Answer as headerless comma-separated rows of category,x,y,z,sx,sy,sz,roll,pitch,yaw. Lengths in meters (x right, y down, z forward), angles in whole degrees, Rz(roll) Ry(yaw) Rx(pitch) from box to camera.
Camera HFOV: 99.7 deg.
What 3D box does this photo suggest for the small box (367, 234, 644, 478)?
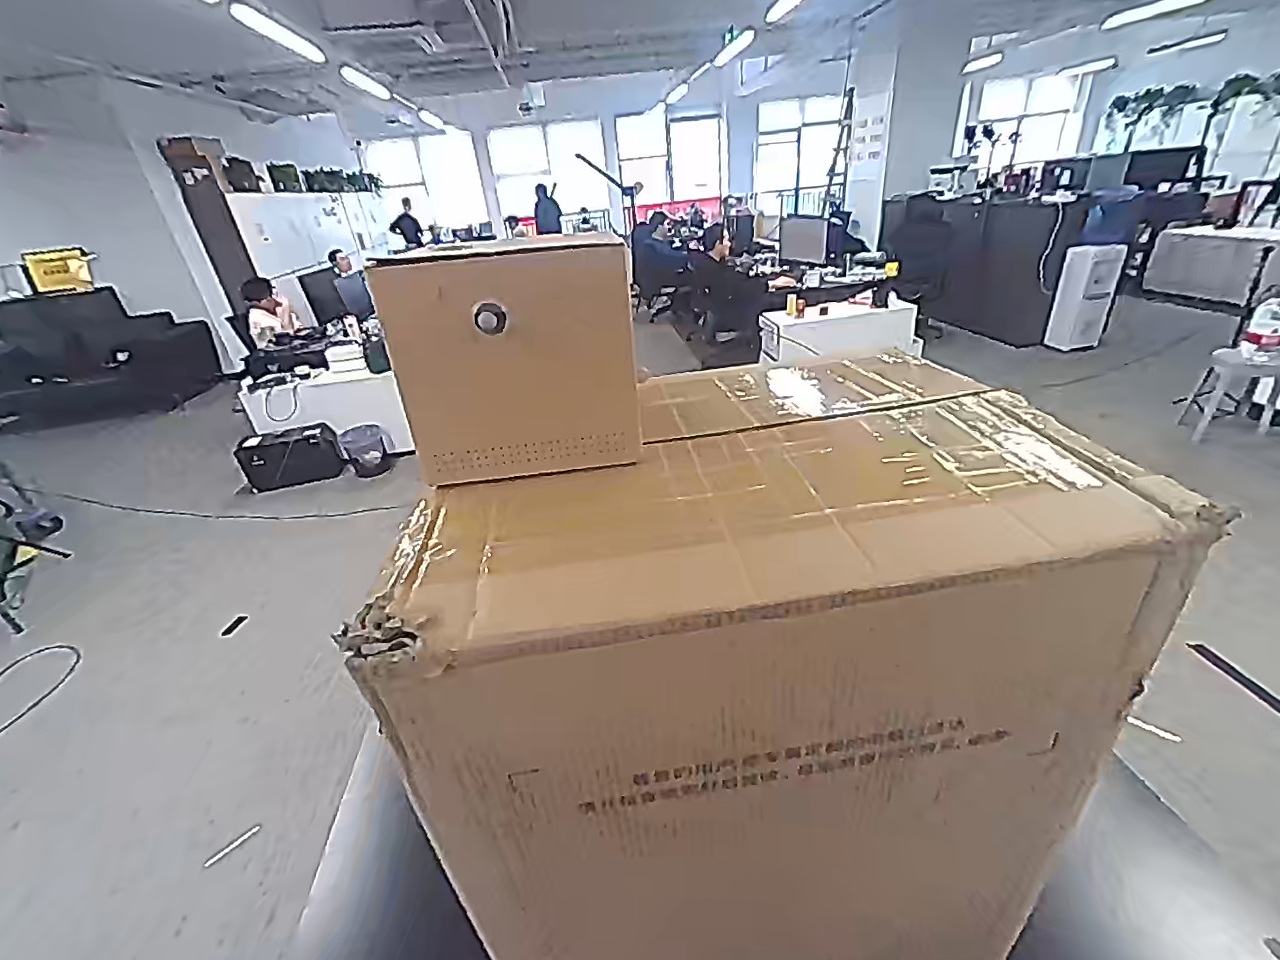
small box,-0.097,-0.111,0.465,0.179,0.176,0.168,-7,27,-4
